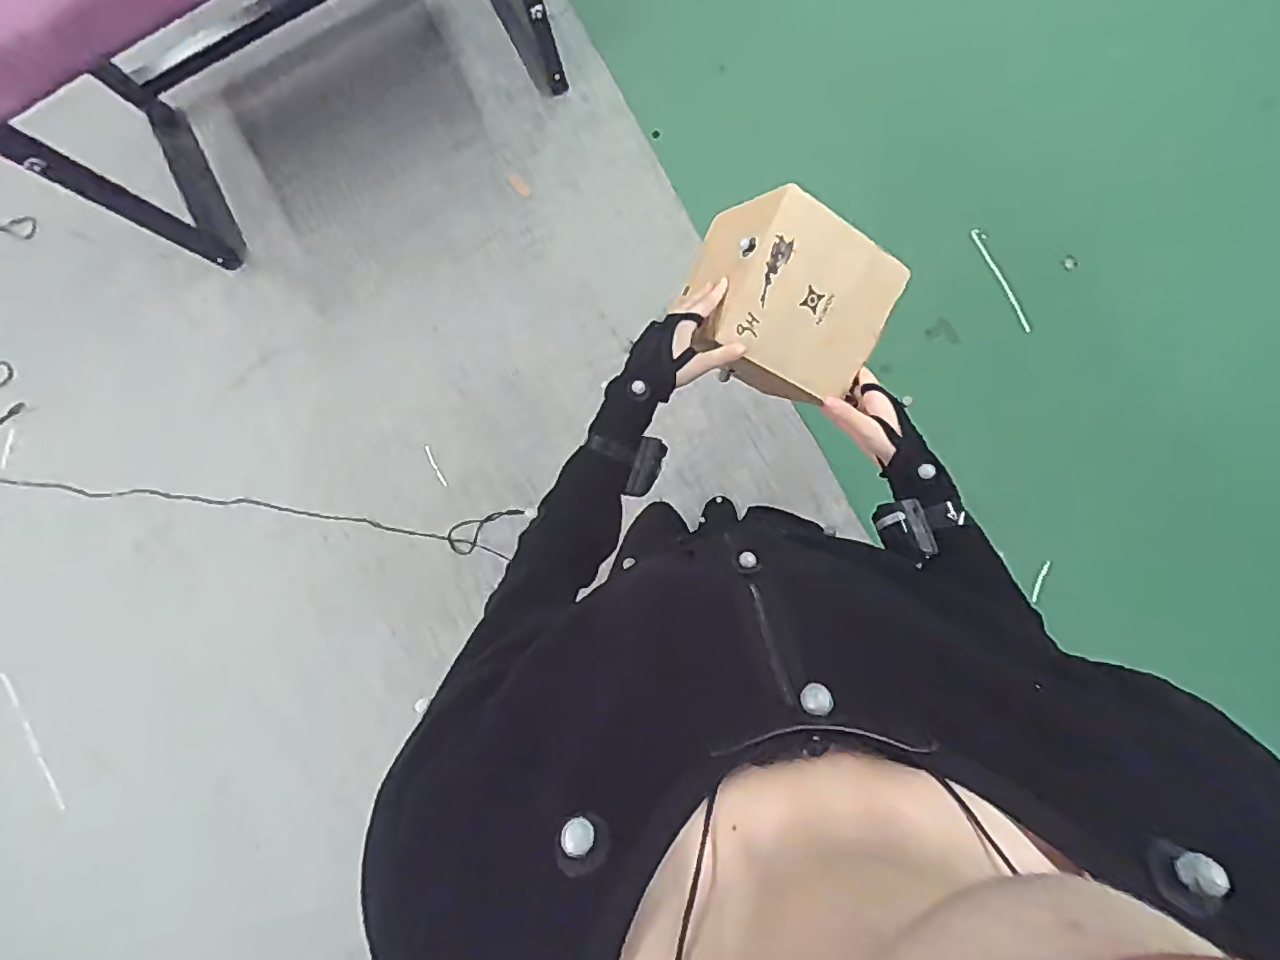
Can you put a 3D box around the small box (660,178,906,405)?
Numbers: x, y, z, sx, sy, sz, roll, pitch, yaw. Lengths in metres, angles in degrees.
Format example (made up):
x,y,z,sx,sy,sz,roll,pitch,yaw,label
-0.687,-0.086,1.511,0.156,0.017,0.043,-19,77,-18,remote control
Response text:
x,y,z,sx,sy,sz,roll,pitch,yaw,label
0.151,-0.205,0.621,0.179,0.176,0.168,22,97,-23,small box
